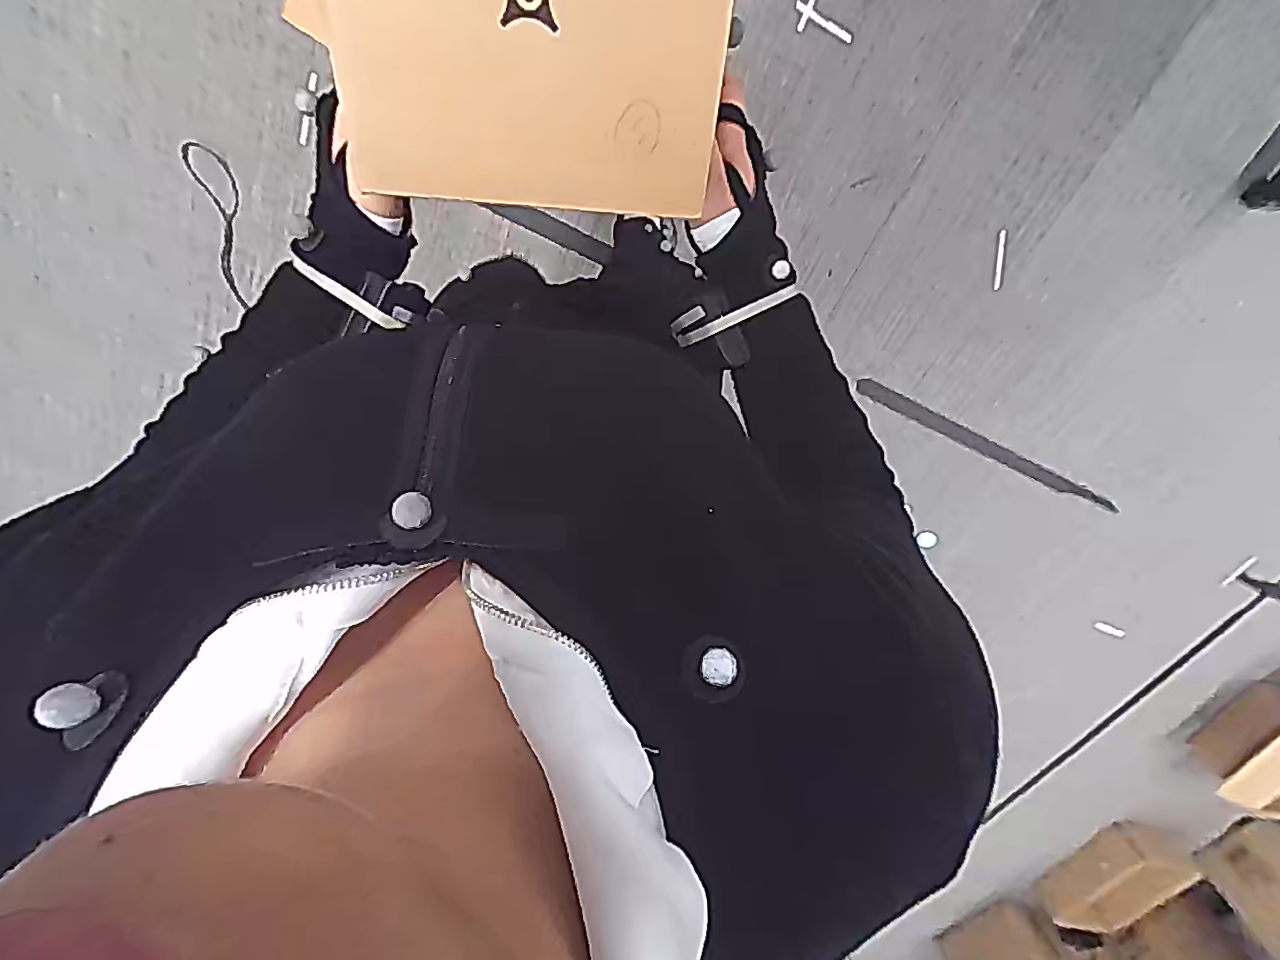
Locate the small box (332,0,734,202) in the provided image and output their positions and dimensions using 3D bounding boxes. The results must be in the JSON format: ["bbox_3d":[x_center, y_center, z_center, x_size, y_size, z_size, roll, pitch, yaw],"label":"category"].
[{"bbox_3d":[-0.046,-0.259,0.274,0.168,0.176,0.179,1,126,-7],"label":"small box"}]
